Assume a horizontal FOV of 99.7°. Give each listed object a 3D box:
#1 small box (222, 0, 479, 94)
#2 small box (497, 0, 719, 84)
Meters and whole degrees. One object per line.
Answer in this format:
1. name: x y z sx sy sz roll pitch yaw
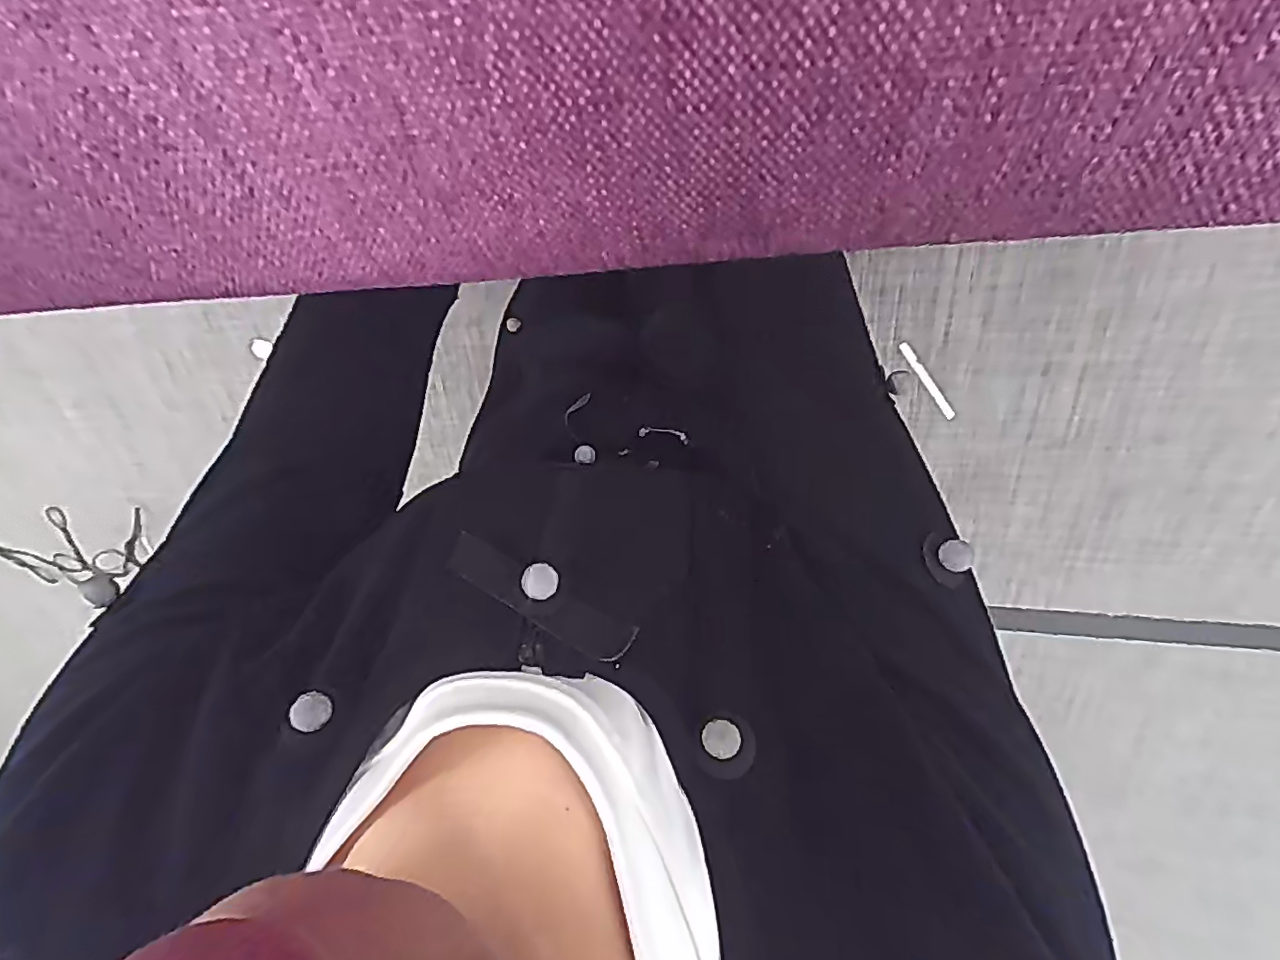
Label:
1. small box: -0.271 -0.485 0.513 0.179 0.176 0.168 0 118 11
2. small box: -0.020 -0.459 0.466 0.179 0.176 0.168 0 118 7
